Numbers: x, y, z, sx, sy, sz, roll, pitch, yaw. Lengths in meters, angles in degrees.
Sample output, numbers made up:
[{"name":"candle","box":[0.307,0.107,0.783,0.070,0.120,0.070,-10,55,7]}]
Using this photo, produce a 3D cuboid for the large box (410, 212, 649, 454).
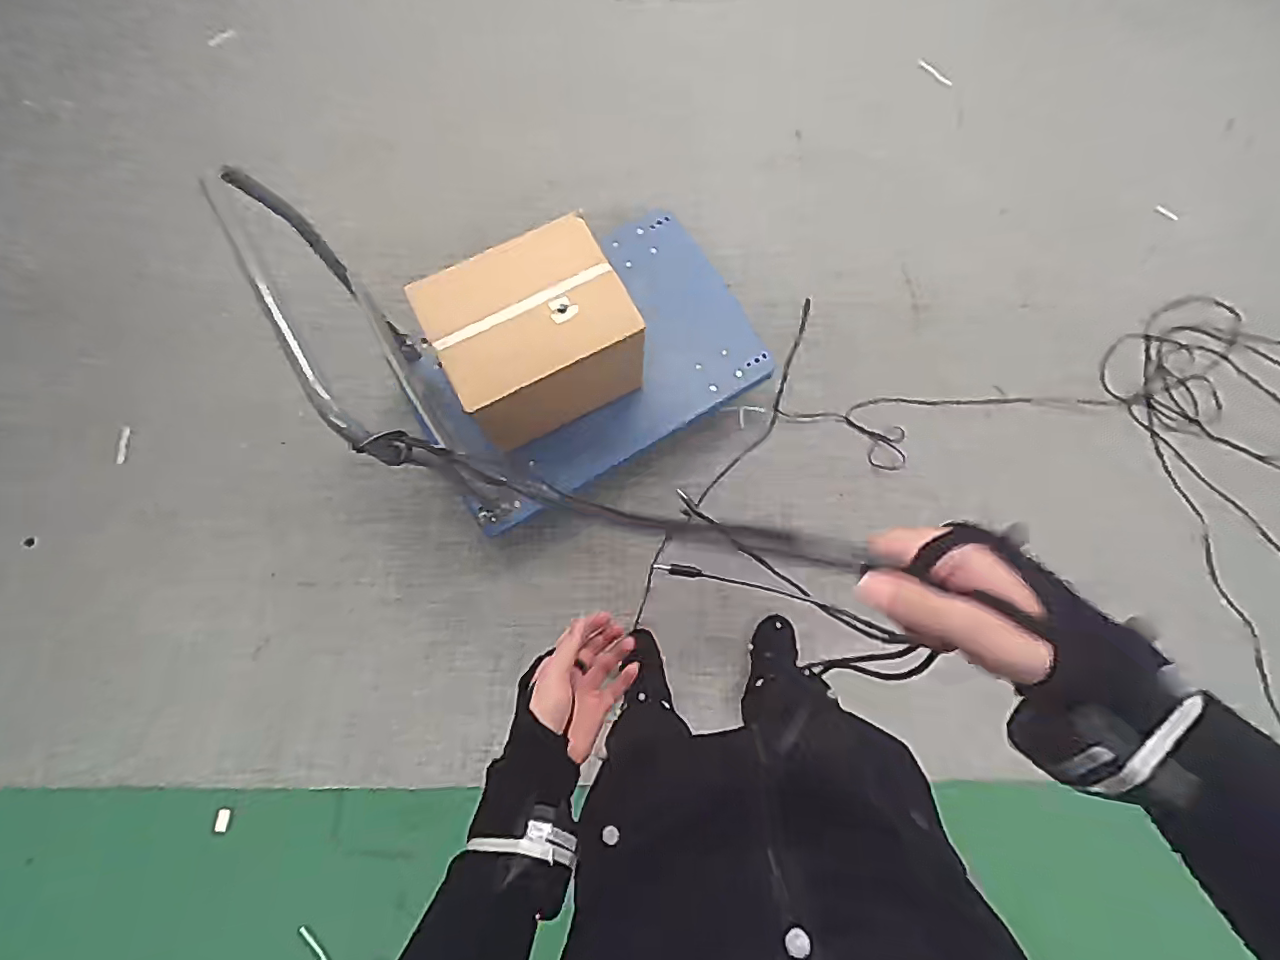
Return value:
[{"name":"large box","box":[-0.230,-0.315,1.239,0.408,0.320,0.320,-28,80,-8]}]
